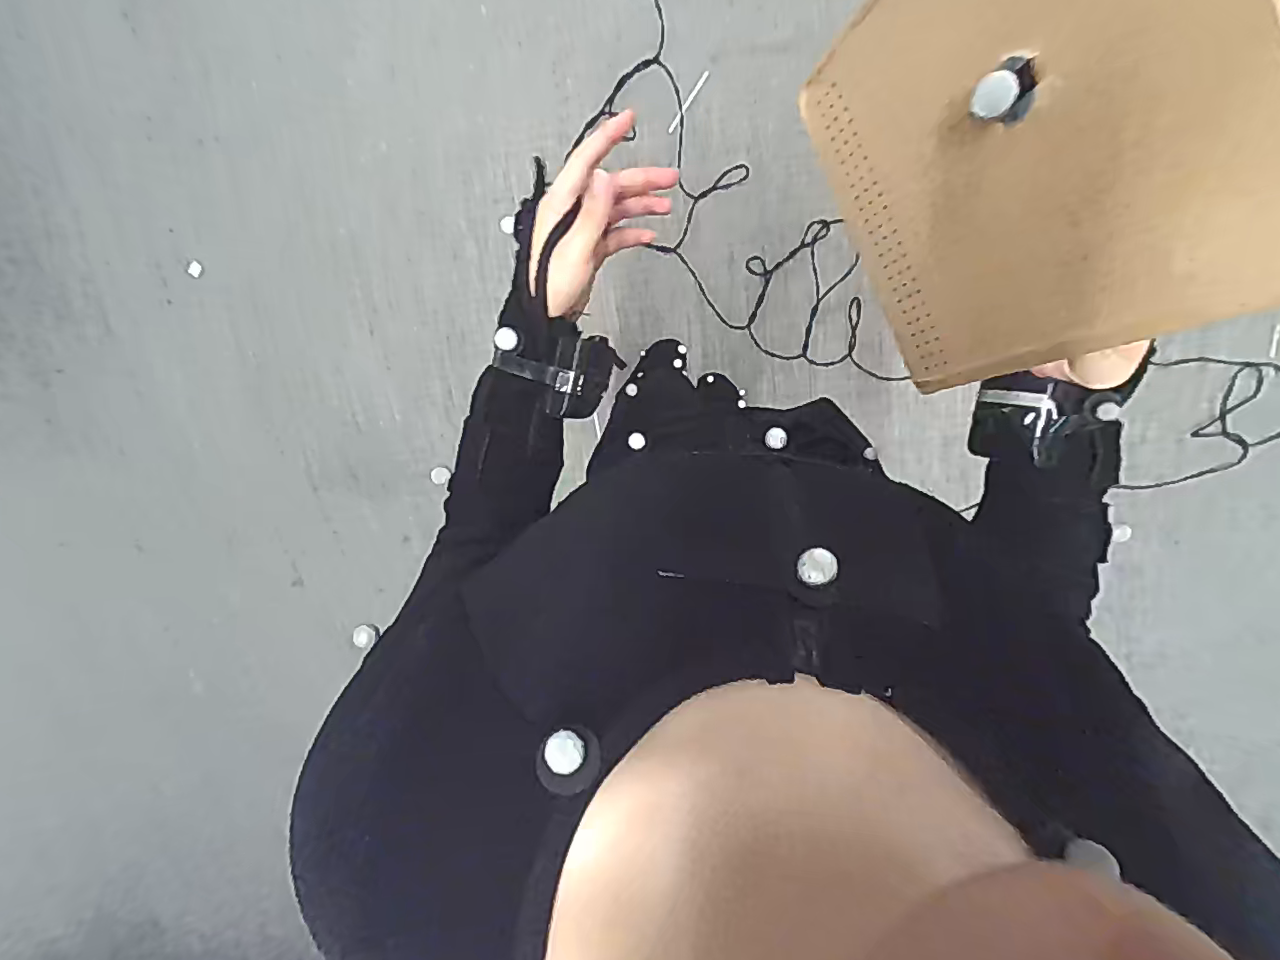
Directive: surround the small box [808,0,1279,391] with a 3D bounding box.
[{"bbox_3d":[0.207,-0.161,0.240,0.168,0.176,0.179,-27,93,-11],"label":"small box"}]
